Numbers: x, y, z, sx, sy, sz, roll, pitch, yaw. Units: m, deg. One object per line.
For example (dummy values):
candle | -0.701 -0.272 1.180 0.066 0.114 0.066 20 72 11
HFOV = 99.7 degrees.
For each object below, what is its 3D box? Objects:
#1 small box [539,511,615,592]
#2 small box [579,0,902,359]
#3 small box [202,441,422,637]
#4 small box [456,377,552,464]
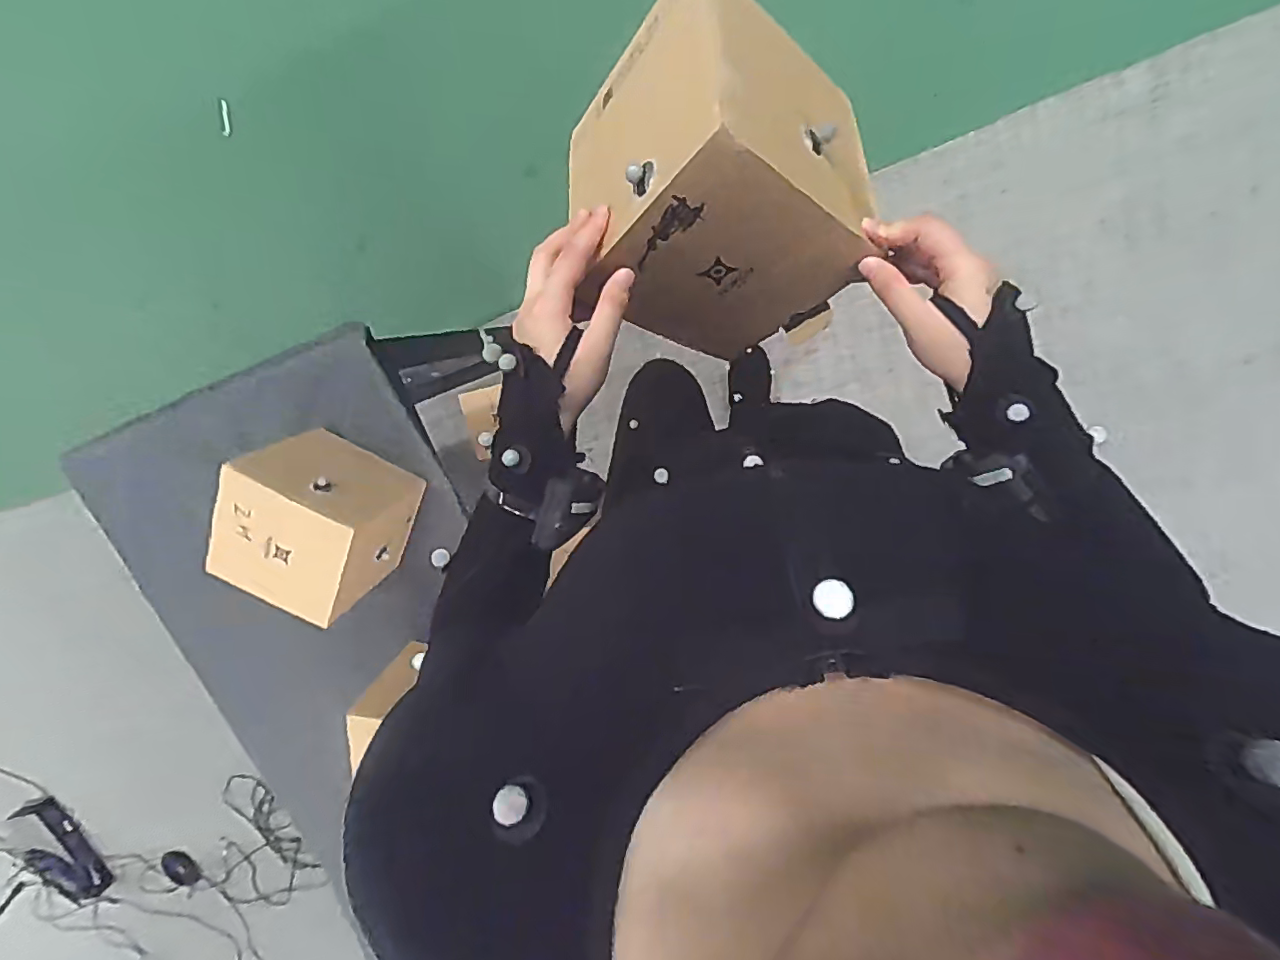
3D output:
small box | -0.169 0.191 1.503 0.168 0.176 0.179 -4 108 9
small box | 0.068 -0.226 0.418 0.179 0.176 0.168 13 154 -36
small box | -0.424 0.067 0.722 0.179 0.176 0.168 27 111 -1
small box | -0.346 -0.160 1.414 0.168 0.176 0.179 -12 104 10
